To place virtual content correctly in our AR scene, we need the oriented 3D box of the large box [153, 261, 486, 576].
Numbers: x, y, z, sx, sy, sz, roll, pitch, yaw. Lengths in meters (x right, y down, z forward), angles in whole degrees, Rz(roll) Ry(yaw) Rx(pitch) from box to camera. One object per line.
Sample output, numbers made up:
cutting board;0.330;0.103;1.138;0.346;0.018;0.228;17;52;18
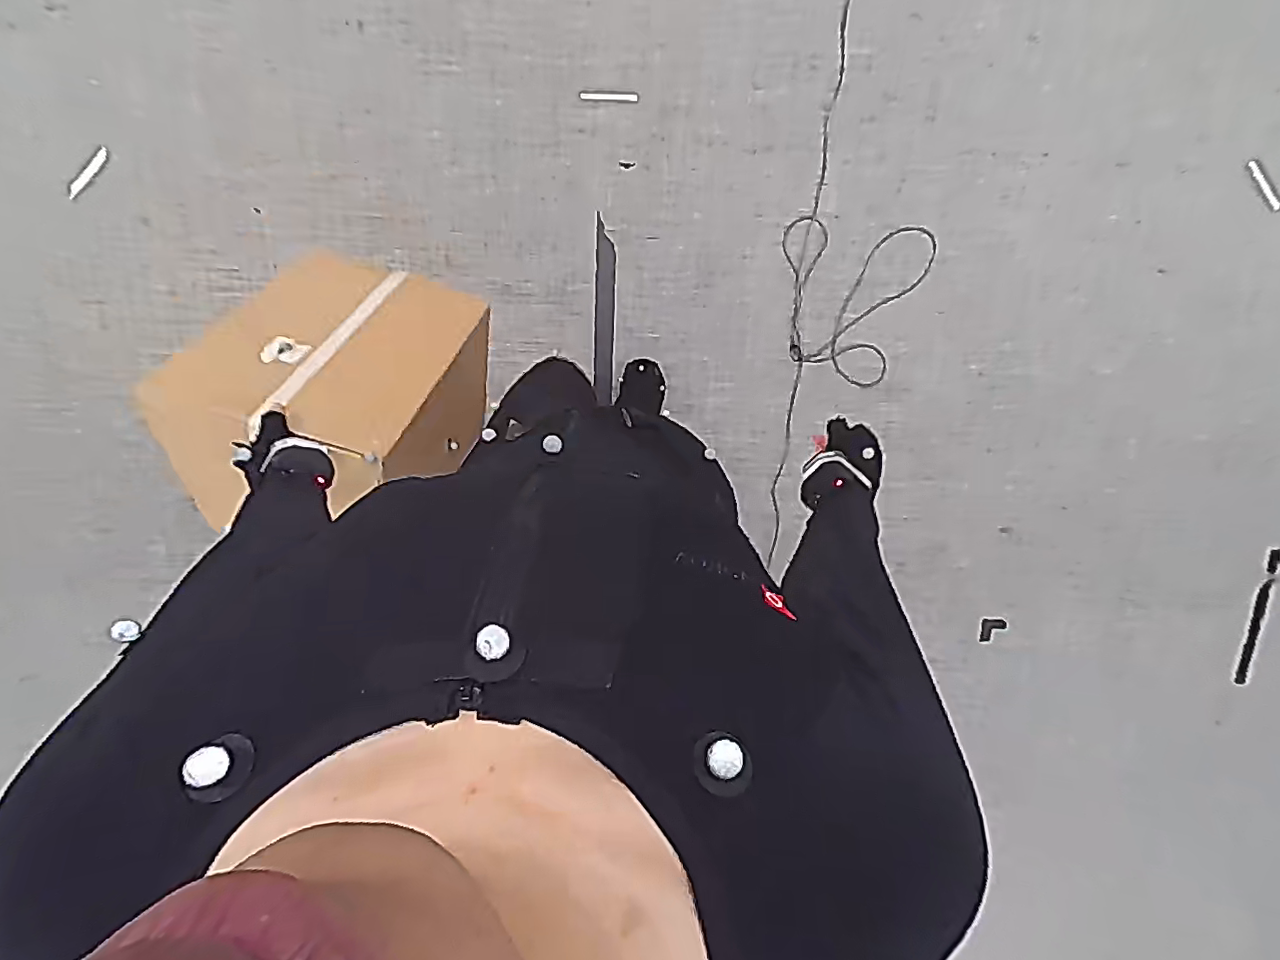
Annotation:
large box;-0.485;-0.109;0.941;0.320;0.408;0.320;16;138;-3
